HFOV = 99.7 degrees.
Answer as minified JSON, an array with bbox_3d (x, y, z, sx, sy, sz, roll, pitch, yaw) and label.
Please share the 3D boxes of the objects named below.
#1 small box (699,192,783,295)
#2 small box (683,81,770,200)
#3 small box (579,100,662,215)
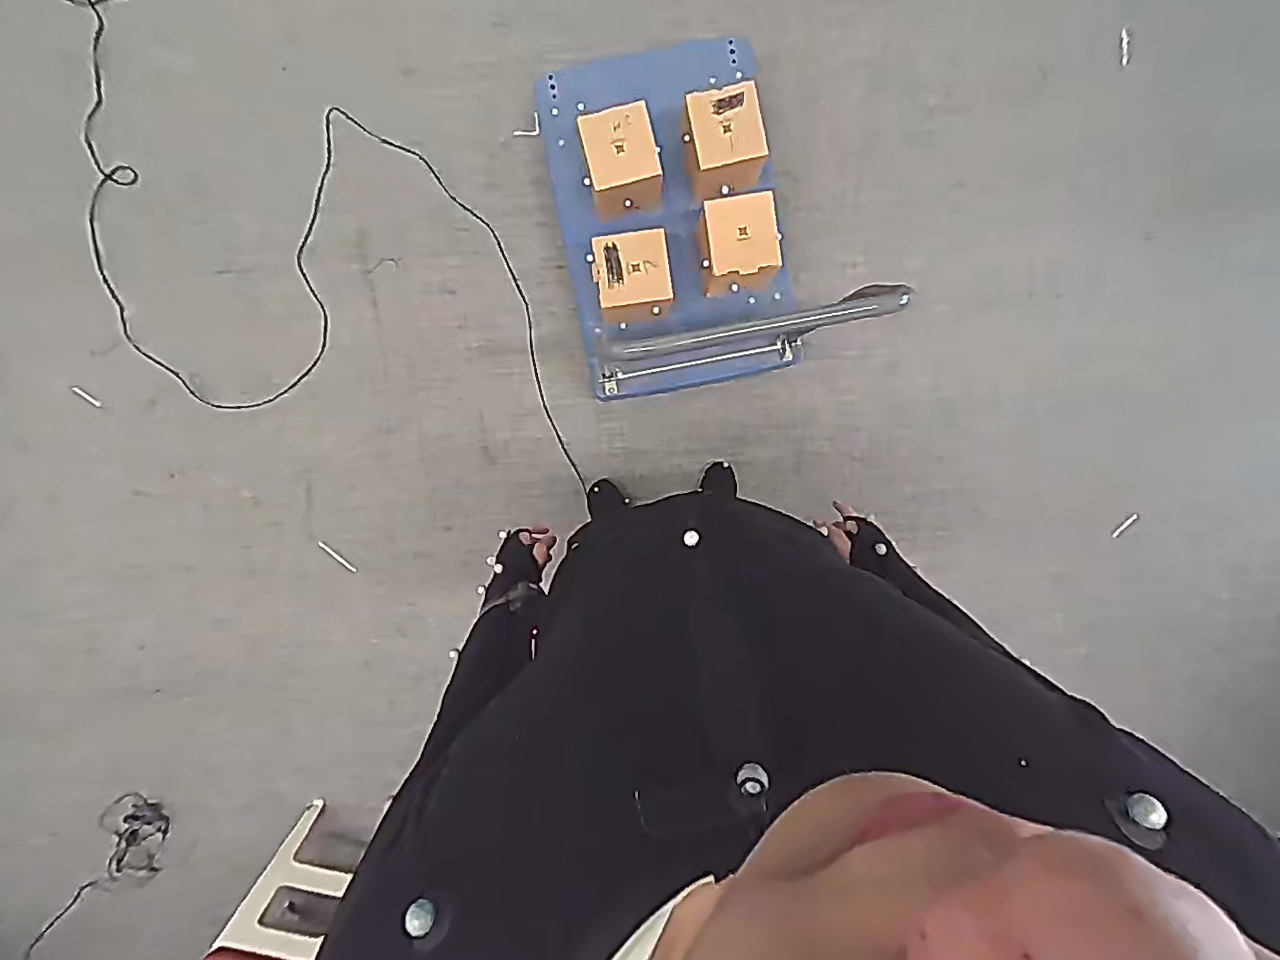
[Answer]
[{"bbox_3d":[0.245,-0.582,1.349,0.168,0.176,0.179,-9,92,0],"label":"small box"},{"bbox_3d":[0.206,-0.828,1.332,0.168,0.176,0.179,-12,94,1],"label":"small box"},{"bbox_3d":[-0.045,-0.780,1.333,0.168,0.176,0.179,-14,93,0],"label":"small box"}]
